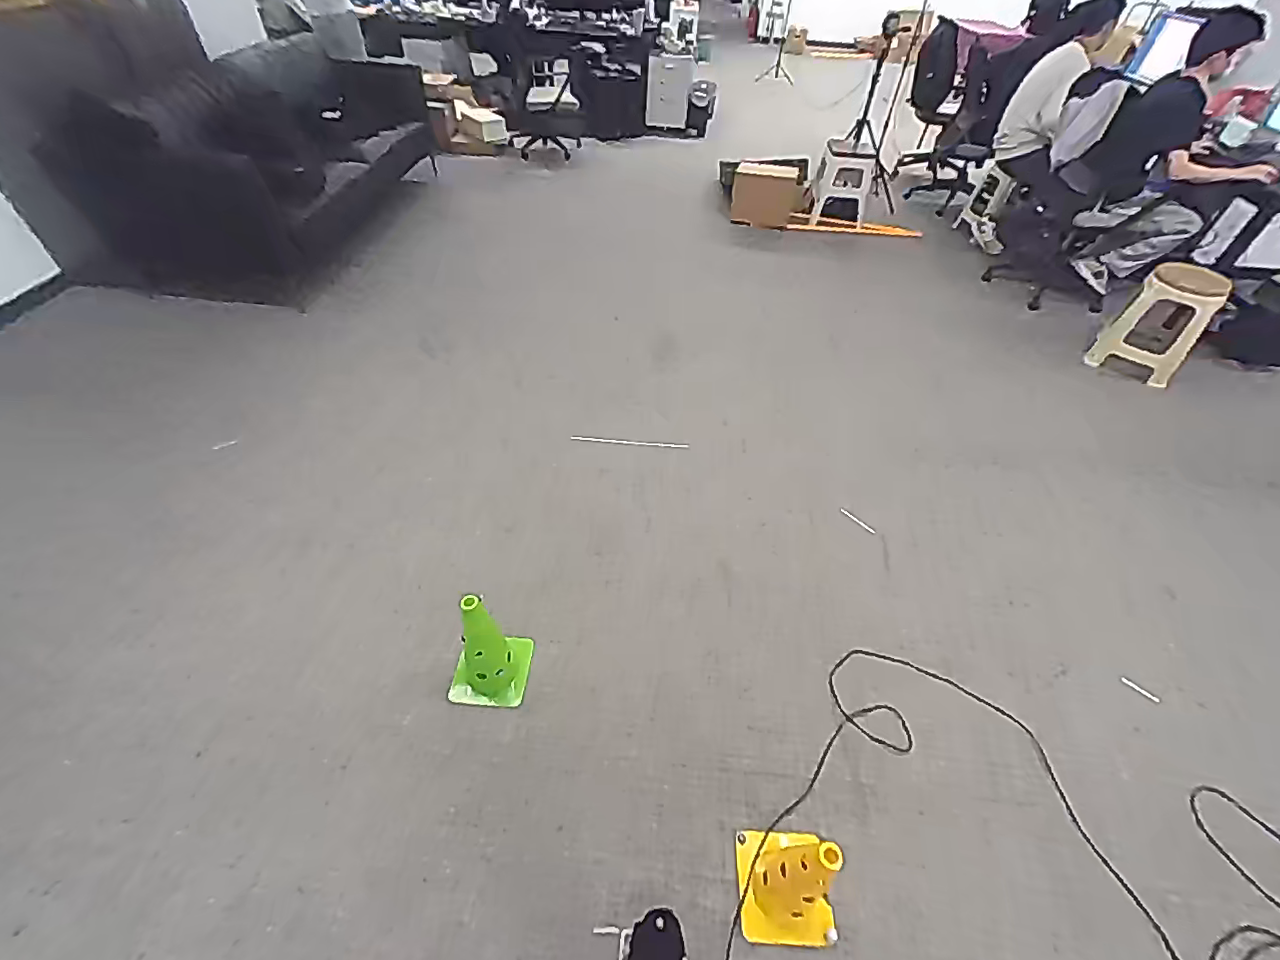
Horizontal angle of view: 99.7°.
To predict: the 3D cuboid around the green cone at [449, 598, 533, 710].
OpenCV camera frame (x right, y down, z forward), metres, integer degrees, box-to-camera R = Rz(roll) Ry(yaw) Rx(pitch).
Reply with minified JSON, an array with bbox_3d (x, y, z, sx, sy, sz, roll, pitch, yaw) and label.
[{"bbox_3d":[-0.401,0.416,1.383,0.202,0.368,0.200,5,46,0],"label":"green cone"}]
